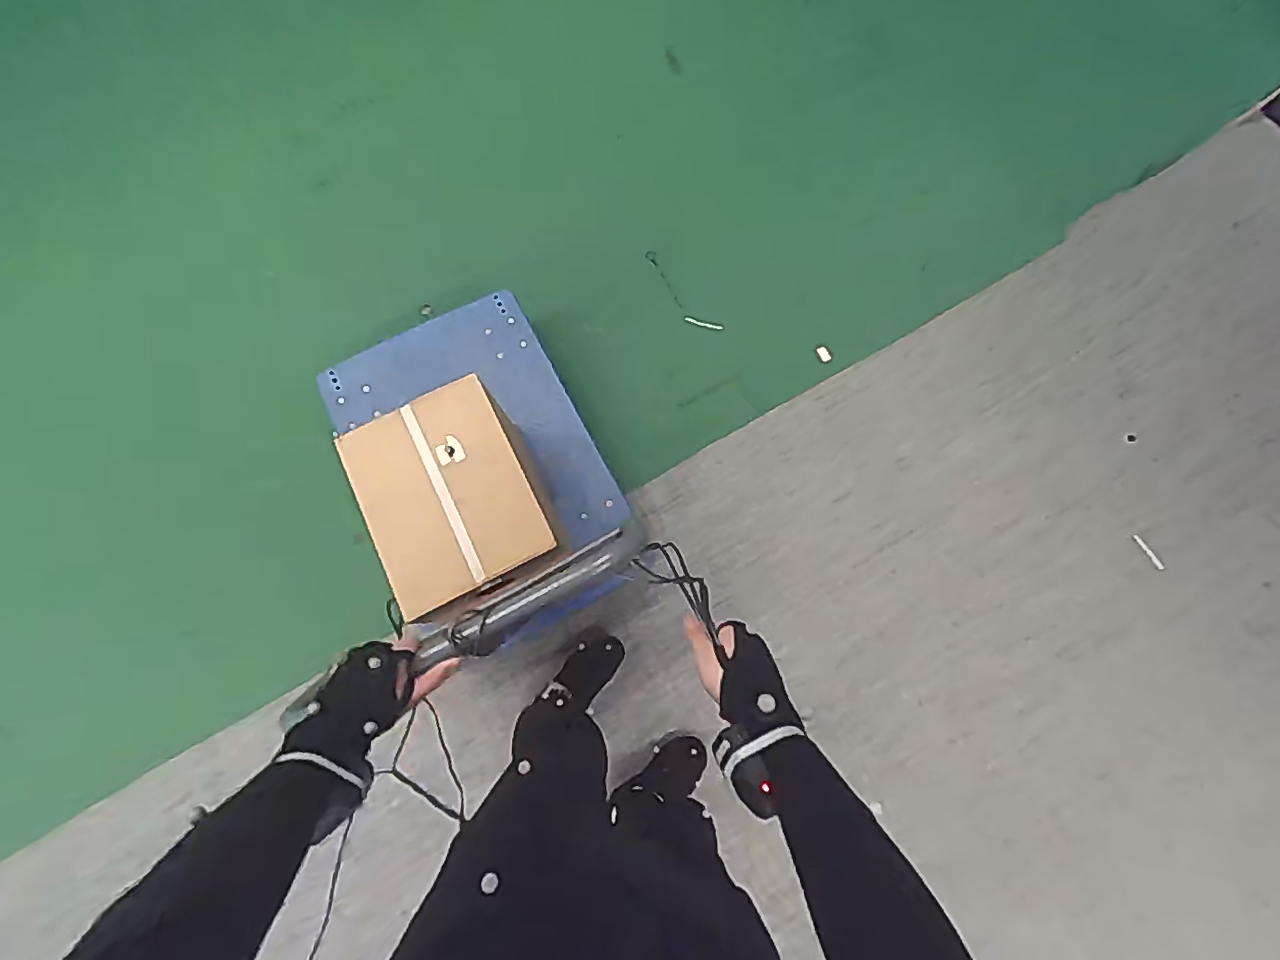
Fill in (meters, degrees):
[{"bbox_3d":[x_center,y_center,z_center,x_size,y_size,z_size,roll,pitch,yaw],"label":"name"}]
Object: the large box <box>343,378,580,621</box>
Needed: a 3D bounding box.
[{"bbox_3d":[-0.369,0.061,1.199,0.320,0.320,0.408,-26,76,-6],"label":"large box"}]
